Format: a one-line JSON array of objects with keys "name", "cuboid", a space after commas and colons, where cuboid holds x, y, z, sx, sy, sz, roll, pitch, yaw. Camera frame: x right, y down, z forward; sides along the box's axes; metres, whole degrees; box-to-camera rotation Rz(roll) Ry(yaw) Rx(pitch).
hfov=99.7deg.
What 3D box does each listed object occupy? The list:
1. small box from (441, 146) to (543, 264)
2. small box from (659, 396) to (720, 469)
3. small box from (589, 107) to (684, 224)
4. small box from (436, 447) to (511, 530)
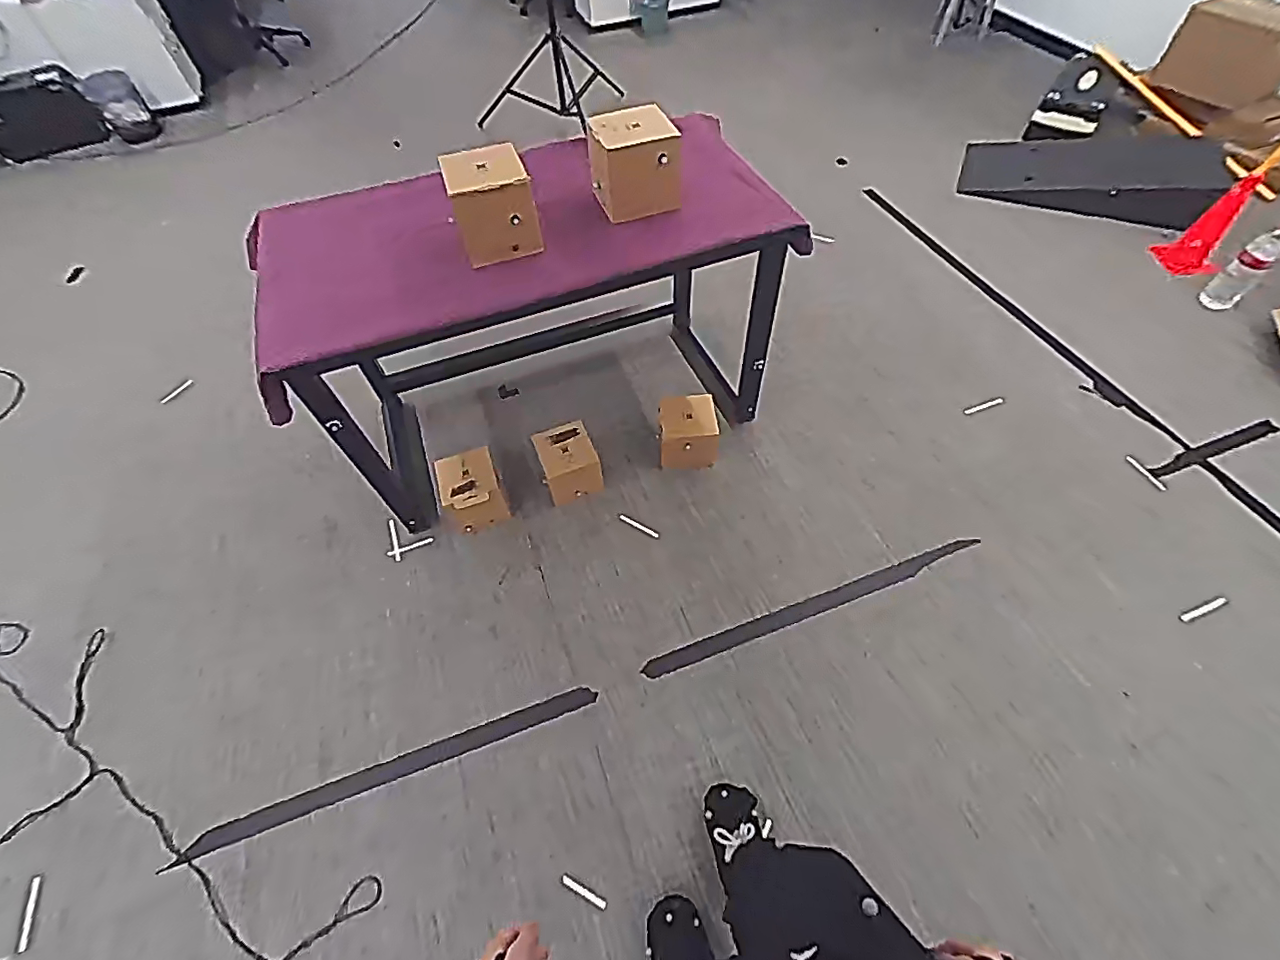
[{"name": "small box", "cuboid": [-0.322, -0.600, 1.195, 0.168, 0.176, 0.179, -17, 55, -10]}, {"name": "small box", "cuboid": [0.155, -0.150, 1.751, 0.179, 0.176, 0.168, -5, 57, 1]}, {"name": "small box", "cuboid": [-0.008, -0.733, 1.267, 0.179, 0.176, 0.168, -18, 56, -8]}, {"name": "small box", "cuboid": [-0.505, 0.034, 1.657, 0.168, 0.176, 0.179, -18, 56, -9]}]
